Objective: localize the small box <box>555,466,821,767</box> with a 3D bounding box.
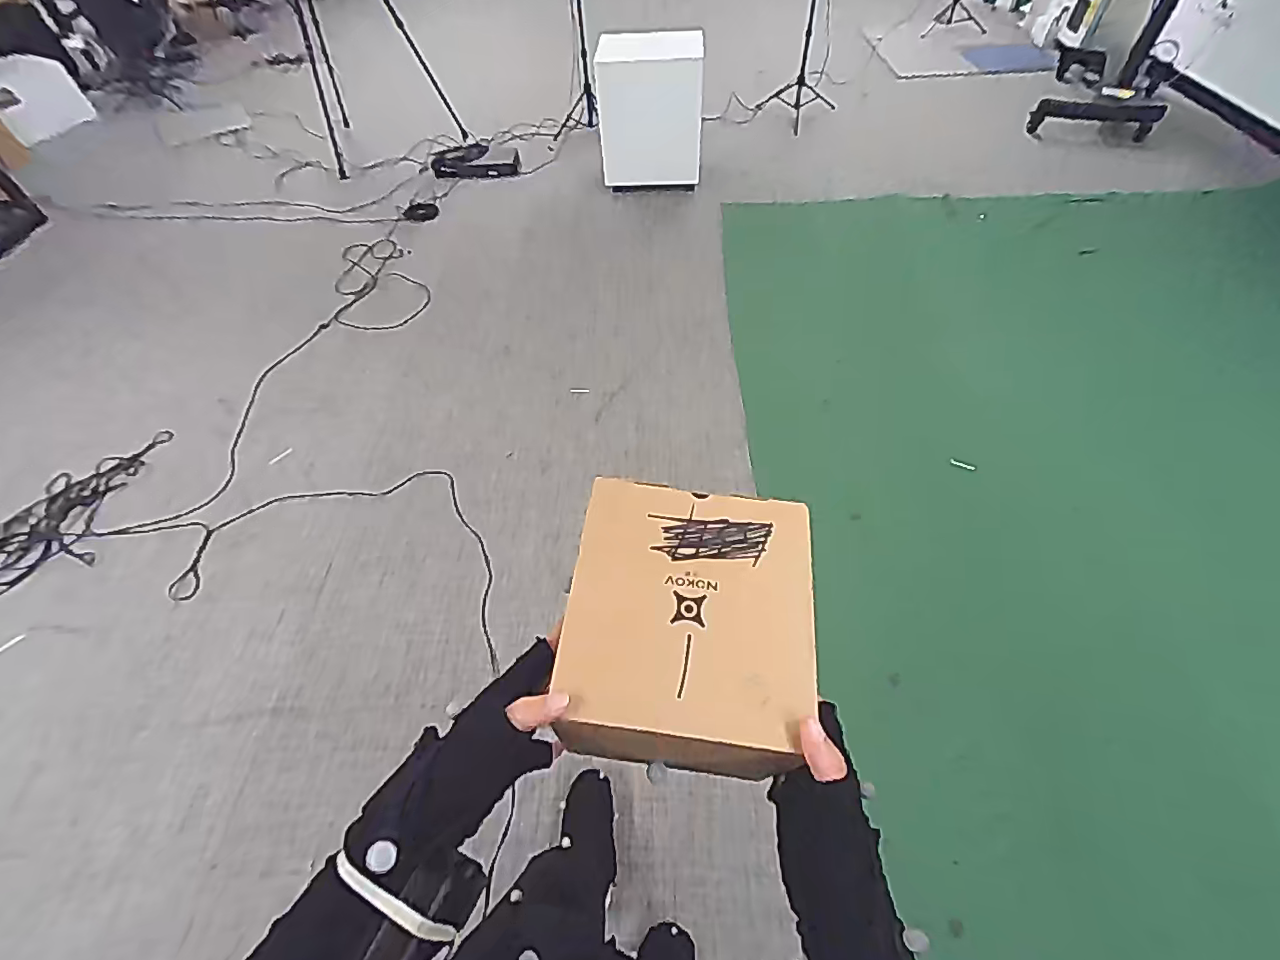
[{"bbox_3d":[0.036,0.115,0.436,0.168,0.176,0.179,7,57,3],"label":"small box"}]
